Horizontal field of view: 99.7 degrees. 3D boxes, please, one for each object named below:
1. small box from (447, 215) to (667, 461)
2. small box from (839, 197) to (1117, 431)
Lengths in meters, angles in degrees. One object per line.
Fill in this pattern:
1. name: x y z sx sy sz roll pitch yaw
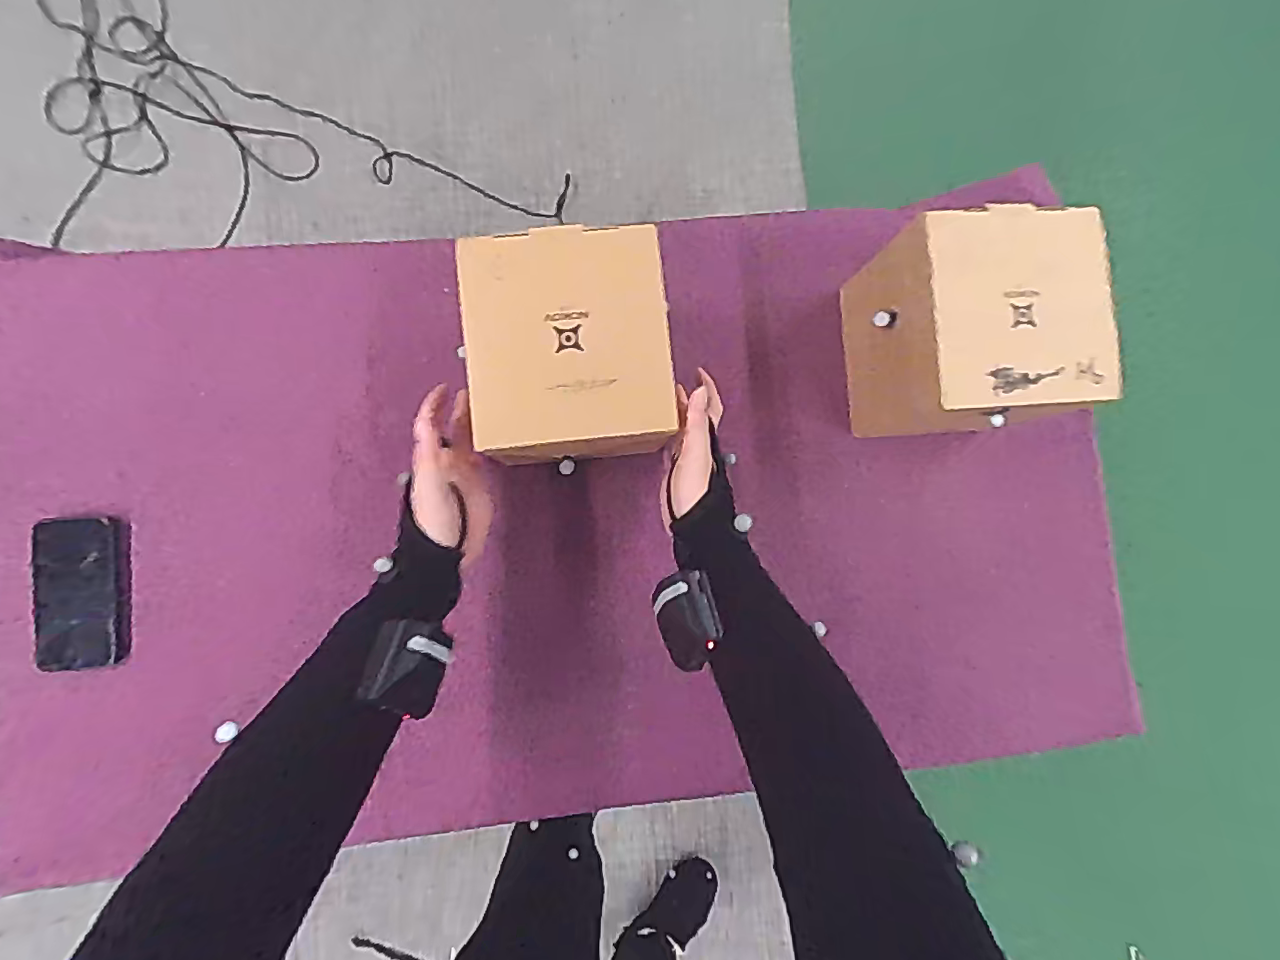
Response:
1. small box: -0.072 -0.119 0.510 0.168 0.176 0.179 -6 87 -4
2. small box: 0.315 -0.152 0.541 0.168 0.176 0.179 -4 86 -4
